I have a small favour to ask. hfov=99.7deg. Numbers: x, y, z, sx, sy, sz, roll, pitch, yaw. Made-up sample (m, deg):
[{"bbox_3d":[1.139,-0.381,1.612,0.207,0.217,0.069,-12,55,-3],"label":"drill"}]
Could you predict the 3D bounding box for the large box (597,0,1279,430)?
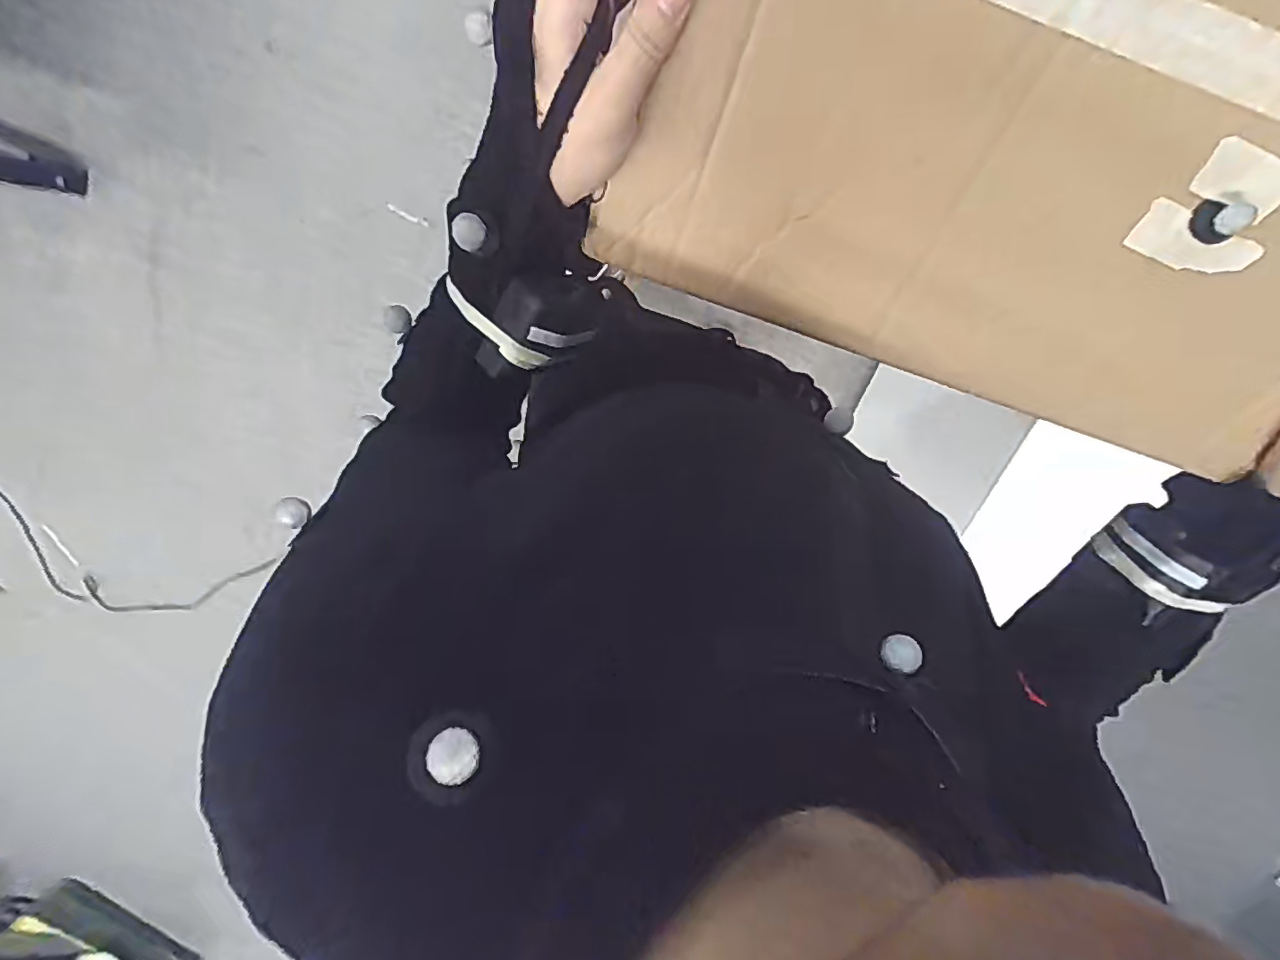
[{"bbox_3d":[0.216,-0.284,0.330,0.408,0.320,0.320,16,130,-6],"label":"large box"}]
